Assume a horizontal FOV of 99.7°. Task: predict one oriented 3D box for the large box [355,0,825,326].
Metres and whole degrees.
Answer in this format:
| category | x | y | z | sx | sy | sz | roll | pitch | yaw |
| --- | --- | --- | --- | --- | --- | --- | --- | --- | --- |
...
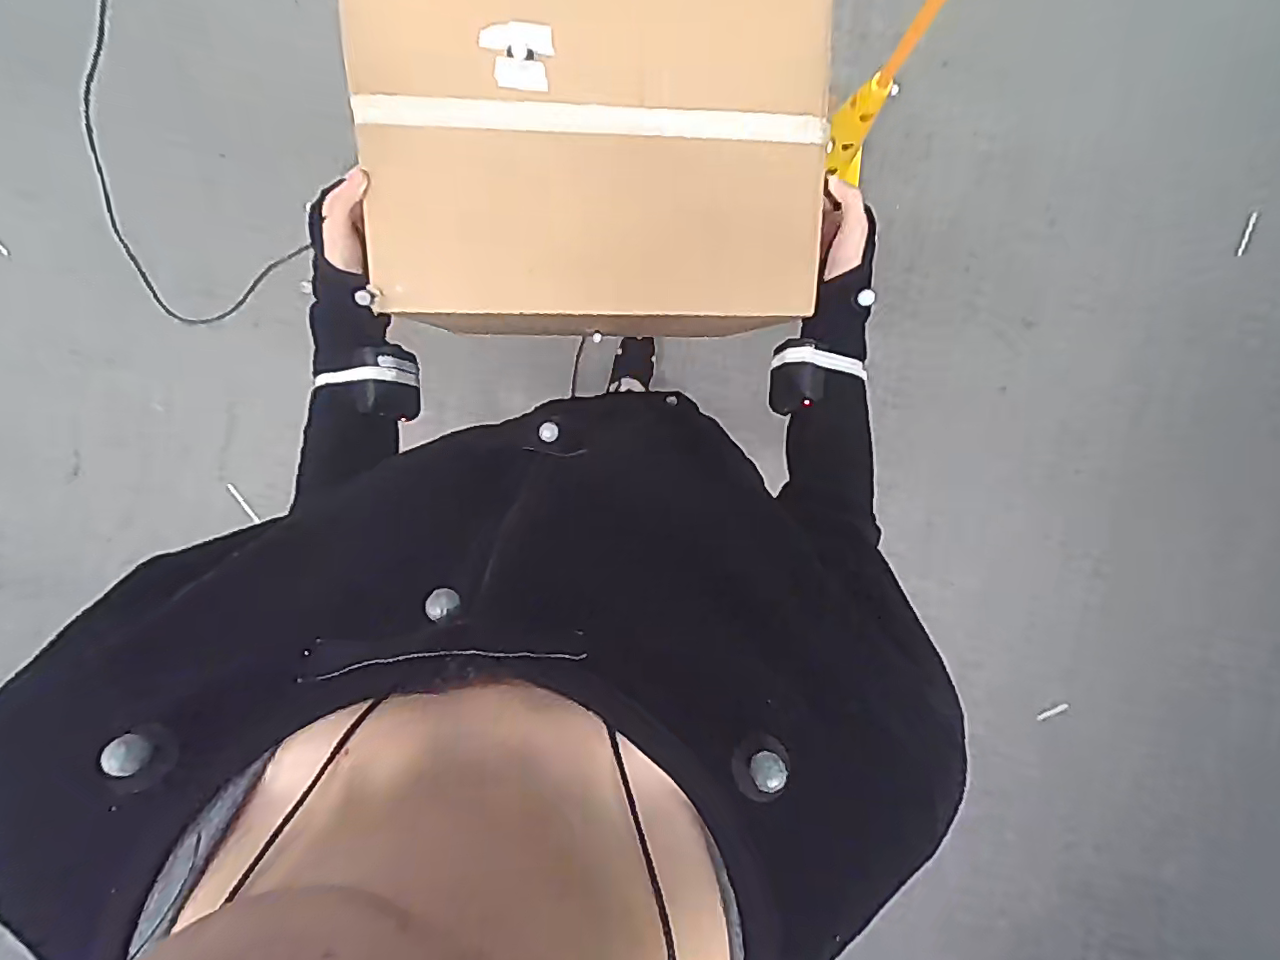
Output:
| category | x | y | z | sx | sy | sz | roll | pitch | yaw |
| --- | --- | --- | --- | --- | --- | --- | --- | --- | --- |
| large box | -0.048 | -0.343 | 0.620 | 0.408 | 0.320 | 0.320 | -1 | 102 | -6 |
